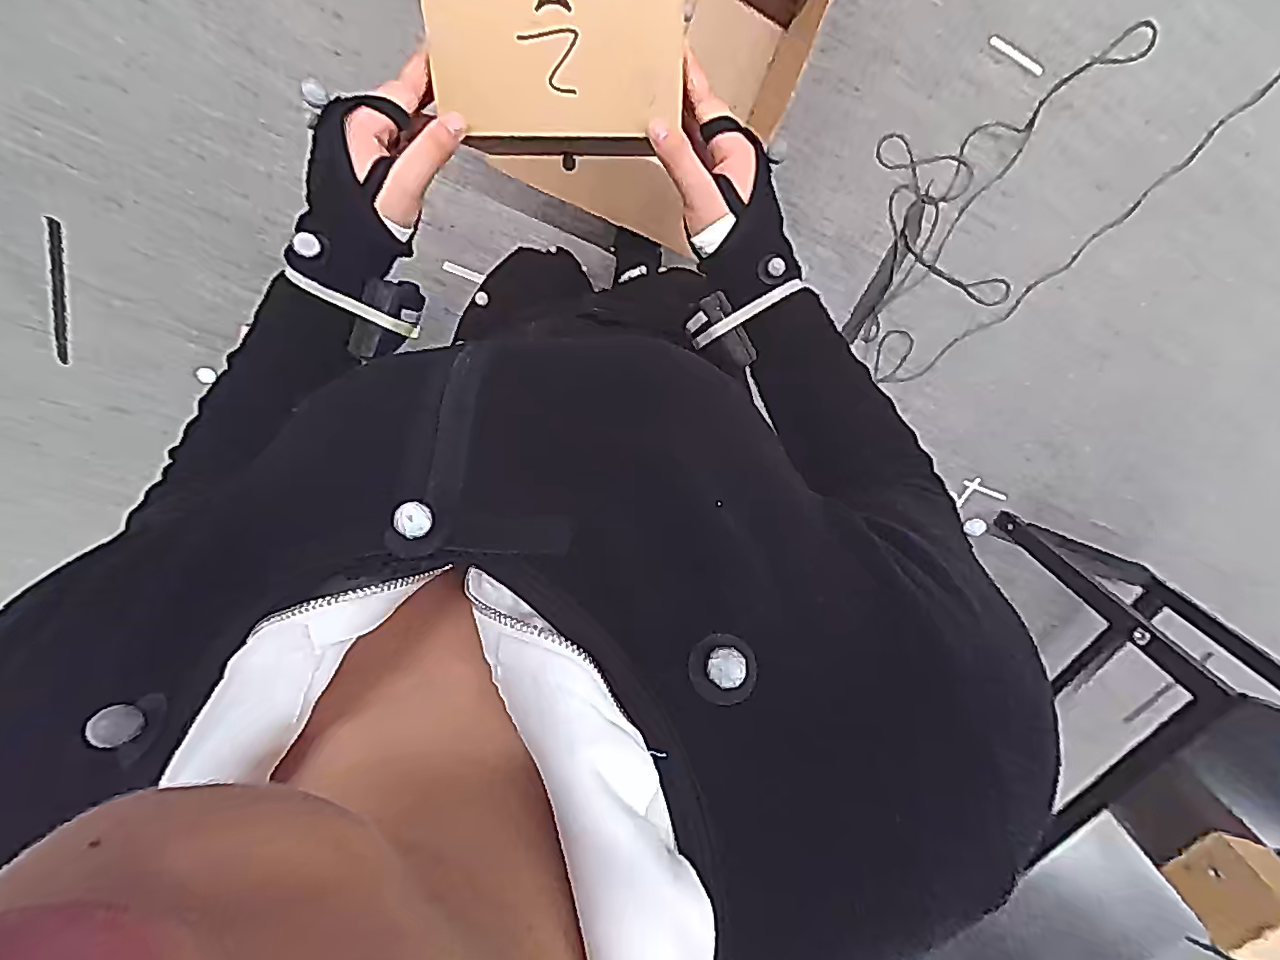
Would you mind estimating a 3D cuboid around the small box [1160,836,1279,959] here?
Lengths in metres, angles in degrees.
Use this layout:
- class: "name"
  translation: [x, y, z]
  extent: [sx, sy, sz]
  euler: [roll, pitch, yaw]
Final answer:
- class: "small box"
  translation: [1.307, 0.905, 1.162]
  extent: [0.179, 0.176, 0.168]
  euler: [21, 114, -11]
